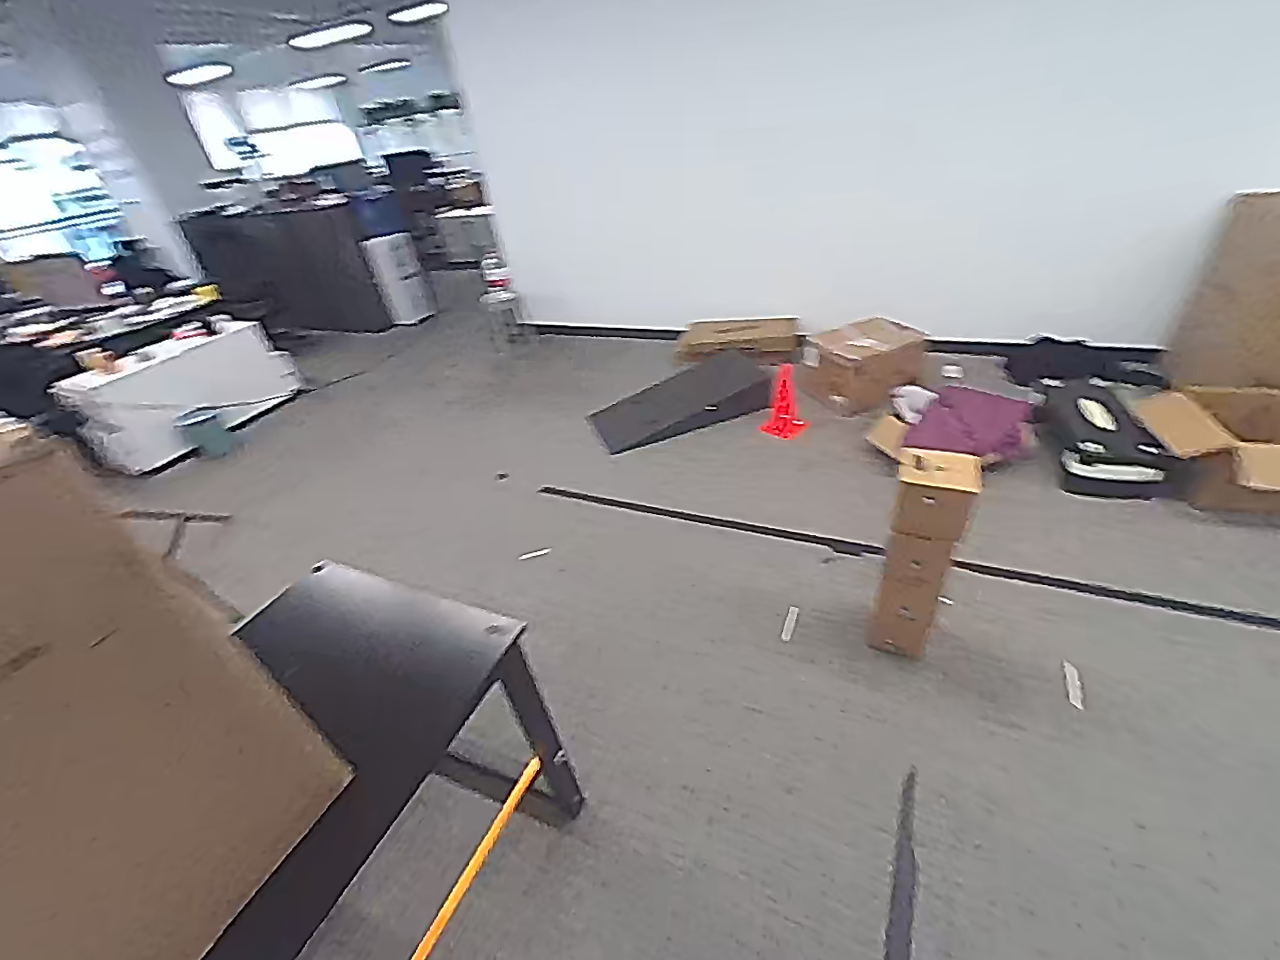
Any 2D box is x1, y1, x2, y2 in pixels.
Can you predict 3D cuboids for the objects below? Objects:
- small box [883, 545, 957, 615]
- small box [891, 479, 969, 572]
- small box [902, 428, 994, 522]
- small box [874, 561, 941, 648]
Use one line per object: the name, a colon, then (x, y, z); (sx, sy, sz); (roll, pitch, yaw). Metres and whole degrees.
small box: (0.806, 0.255, 1.559); (0.168, 0.176, 0.179); (9, 39, 25)
small box: (0.784, 0.124, 1.463); (0.168, 0.176, 0.179); (10, 40, 25)
small box: (0.774, -0.014, 1.371); (0.179, 0.176, 0.168); (9, 39, 23)
small box: (0.824, 0.381, 1.664); (0.168, 0.176, 0.179); (9, 40, 24)
